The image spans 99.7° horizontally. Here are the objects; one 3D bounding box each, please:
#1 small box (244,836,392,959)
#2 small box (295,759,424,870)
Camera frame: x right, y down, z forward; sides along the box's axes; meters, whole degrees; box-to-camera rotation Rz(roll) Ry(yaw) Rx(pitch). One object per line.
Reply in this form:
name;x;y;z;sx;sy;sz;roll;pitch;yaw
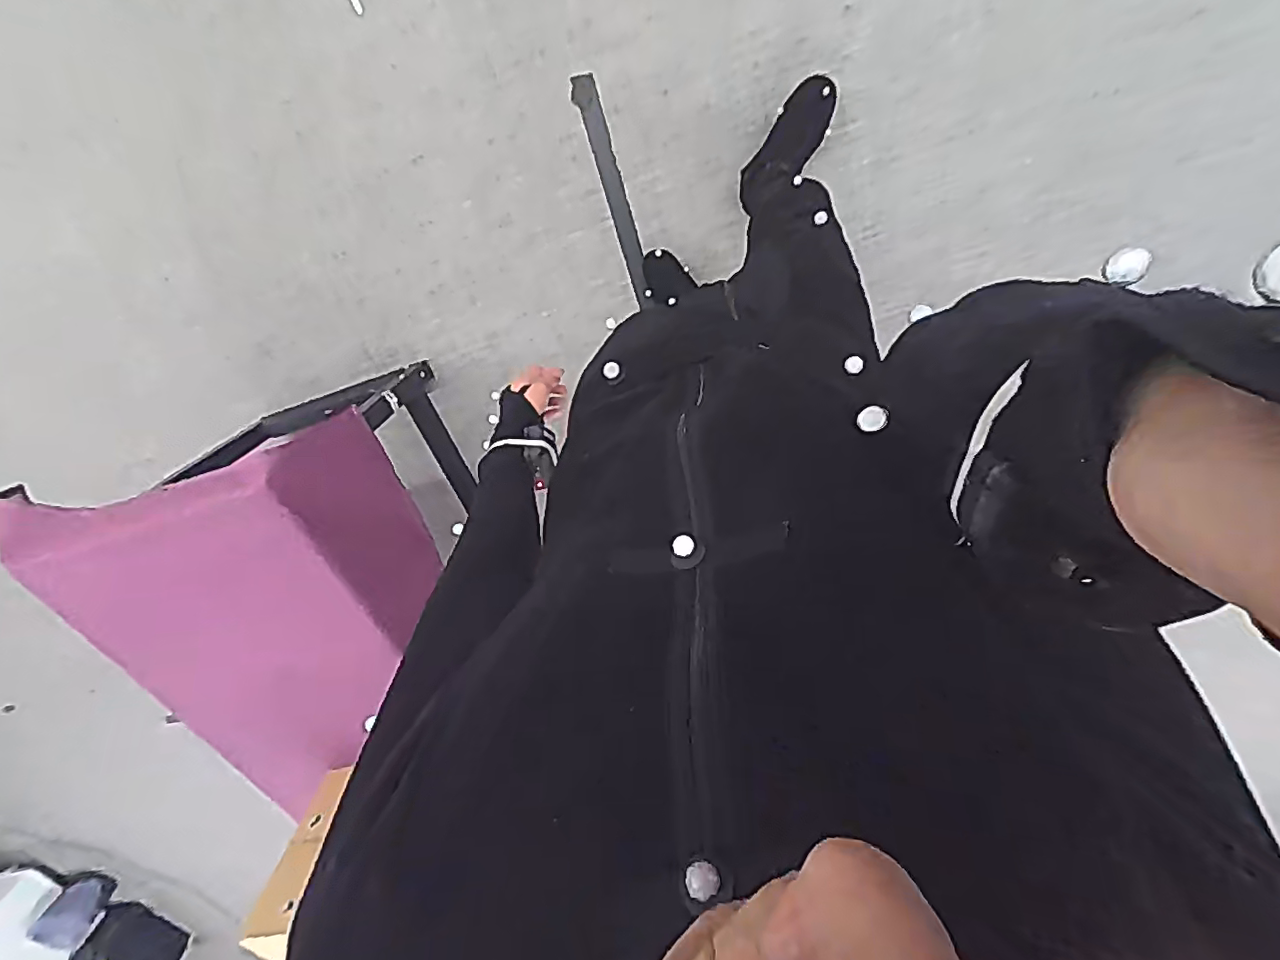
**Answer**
small box;-0.648;0.870;1.120;0.179;0.176;0.168;-19;117;14
small box;-0.642;0.786;1.261;0.179;0.176;0.168;-16;119;11
